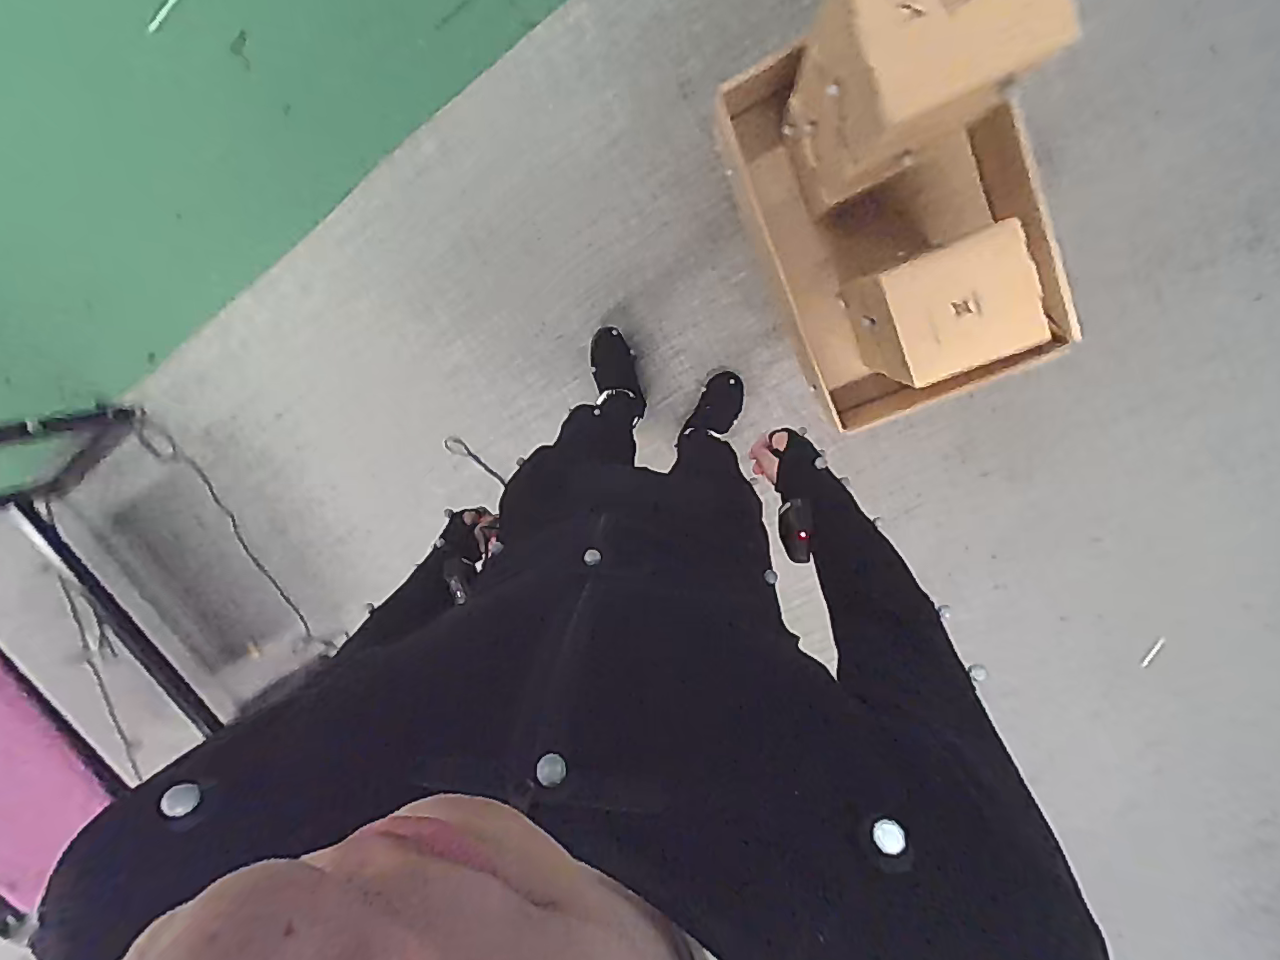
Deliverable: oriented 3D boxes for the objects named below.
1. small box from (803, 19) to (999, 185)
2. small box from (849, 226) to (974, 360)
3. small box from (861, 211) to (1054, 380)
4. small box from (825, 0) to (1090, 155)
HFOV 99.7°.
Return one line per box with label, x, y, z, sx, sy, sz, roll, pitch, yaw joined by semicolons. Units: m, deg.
small box;0.337;-0.529;0.727;0.179;0.176;0.168;-19;104;15
small box;0.479;-0.313;0.941;0.179;0.176;0.168;-19;103;15
small box;0.448;-0.263;0.789;0.179;0.176;0.168;-20;102;16
small box;0.315;-0.481;0.570;0.179;0.176;0.168;-19;103;15
